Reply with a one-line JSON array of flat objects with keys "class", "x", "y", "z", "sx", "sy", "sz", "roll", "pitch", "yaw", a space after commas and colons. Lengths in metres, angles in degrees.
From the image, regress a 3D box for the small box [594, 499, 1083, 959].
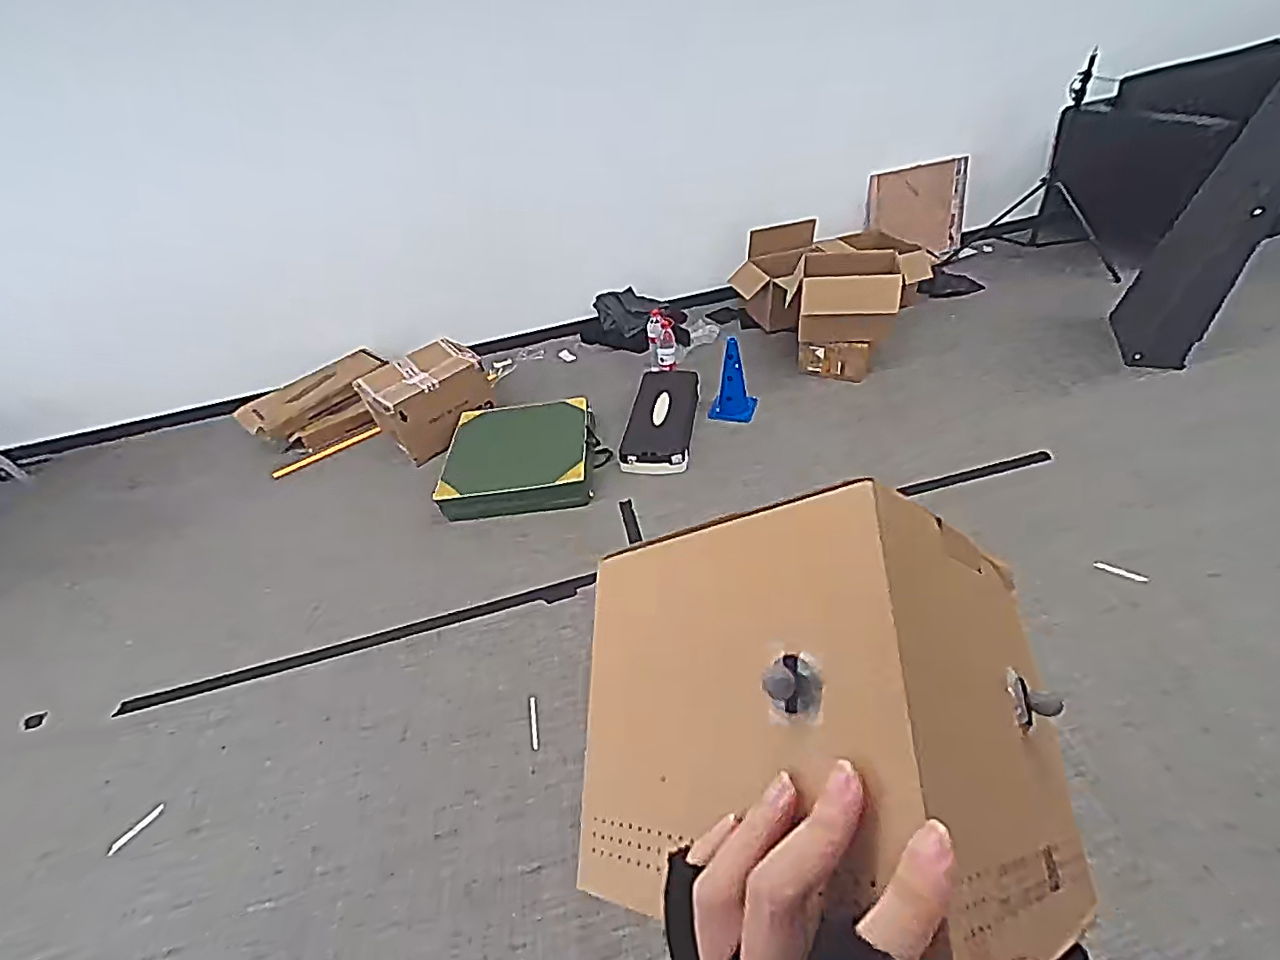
[{"class": "small box", "x": 0.092, "y": 0.129, "z": 0.285, "sx": 0.179, "sy": 0.168, "sz": 0.176, "roll": -23, "pitch": 55, "yaw": 43}]
